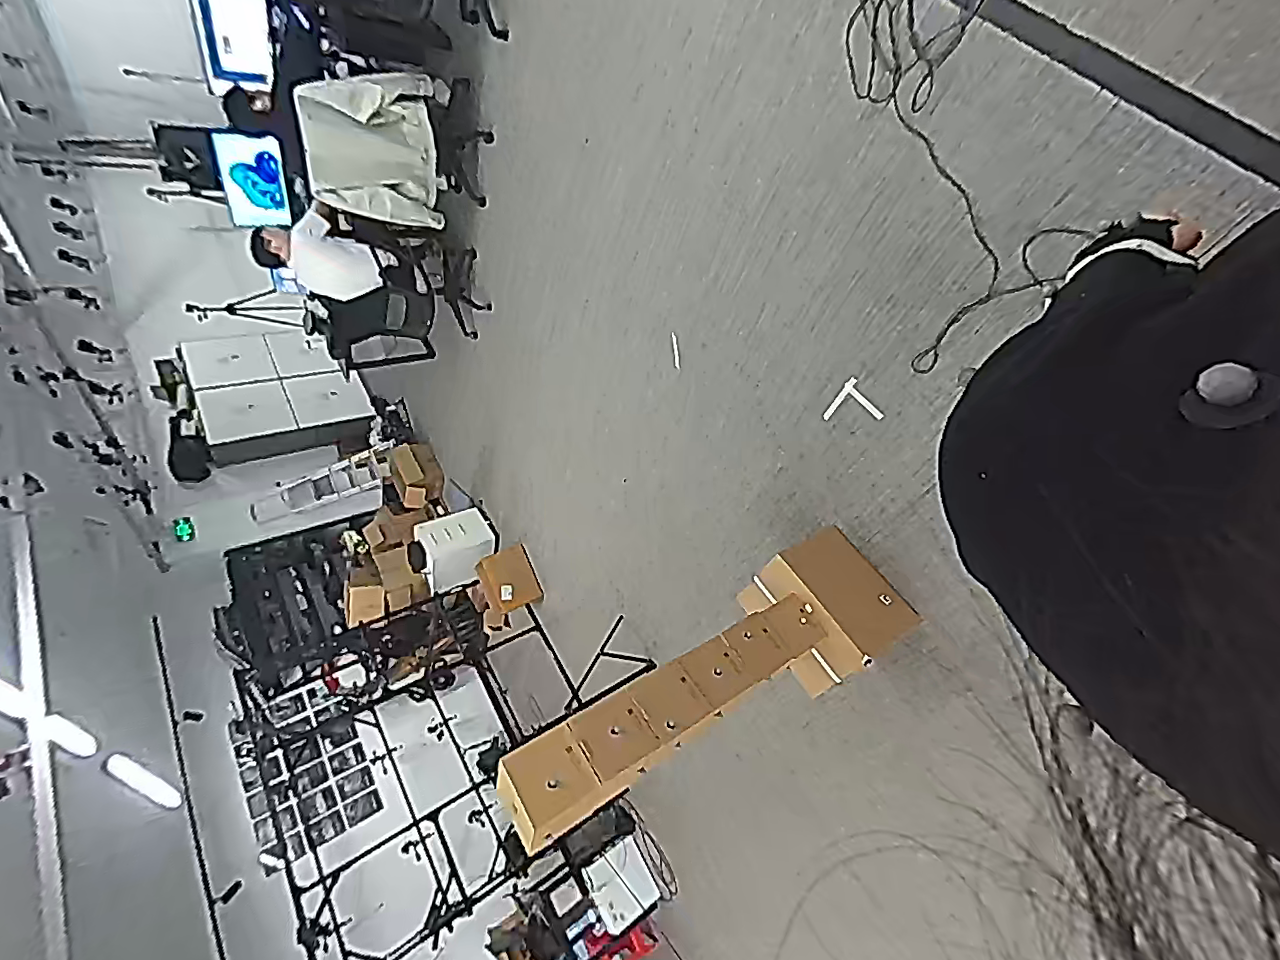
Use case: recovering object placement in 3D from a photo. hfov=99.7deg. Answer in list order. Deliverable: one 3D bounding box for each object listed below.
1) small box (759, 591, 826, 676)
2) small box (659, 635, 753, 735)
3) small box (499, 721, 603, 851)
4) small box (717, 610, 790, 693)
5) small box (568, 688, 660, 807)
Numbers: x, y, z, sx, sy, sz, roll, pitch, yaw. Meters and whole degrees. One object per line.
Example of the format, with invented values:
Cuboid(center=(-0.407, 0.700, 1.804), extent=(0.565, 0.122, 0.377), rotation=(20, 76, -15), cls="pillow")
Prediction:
Cuboid(center=(0.442, 0.478, 1.684), extent=(0.168, 0.176, 0.179), rotation=(53, 141, 25), cls="small box")
Cuboid(center=(0.185, 0.562, 1.501), extent=(0.168, 0.176, 0.179), rotation=(50, 140, 30), cls="small box")
Cuboid(center=(-0.202, 0.686, 1.226), extent=(0.168, 0.176, 0.179), rotation=(47, 139, 33), cls="small box")
Cuboid(center=(0.314, 0.514, 1.592), extent=(0.168, 0.176, 0.179), rotation=(53, 143, 27), cls="small box")
Cuboid(center=(-0.072, 0.643, 1.315), extent=(0.168, 0.176, 0.179), rotation=(47, 138, 33), cls="small box")
